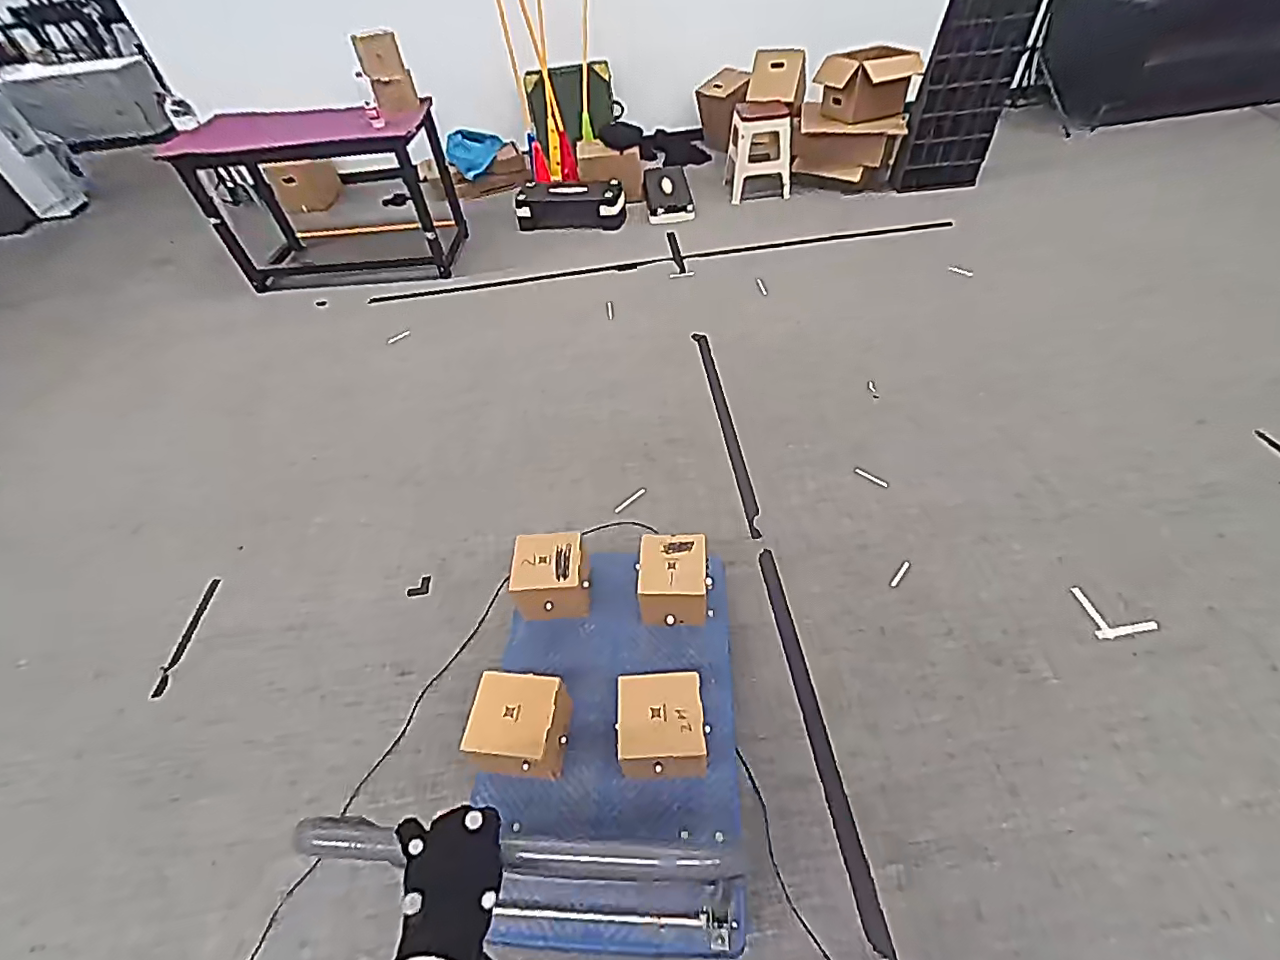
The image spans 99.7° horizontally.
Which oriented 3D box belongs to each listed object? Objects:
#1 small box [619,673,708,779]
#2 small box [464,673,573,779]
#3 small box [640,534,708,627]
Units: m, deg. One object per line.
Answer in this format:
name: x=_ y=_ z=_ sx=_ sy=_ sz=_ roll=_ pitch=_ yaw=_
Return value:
small box: x=0.052 y=0.531 z=1.159 sx=0.179 sy=0.176 sz=0.168 roll=-4 pitch=48 yaw=3
small box: x=-0.256 y=0.541 z=1.186 sx=0.179 sy=0.176 sz=0.168 roll=3 pitch=48 yaw=7
small box: x=0.091 y=0.259 z=1.395 sx=0.168 sy=0.176 sz=0.179 roll=0 pitch=50 yaw=6
